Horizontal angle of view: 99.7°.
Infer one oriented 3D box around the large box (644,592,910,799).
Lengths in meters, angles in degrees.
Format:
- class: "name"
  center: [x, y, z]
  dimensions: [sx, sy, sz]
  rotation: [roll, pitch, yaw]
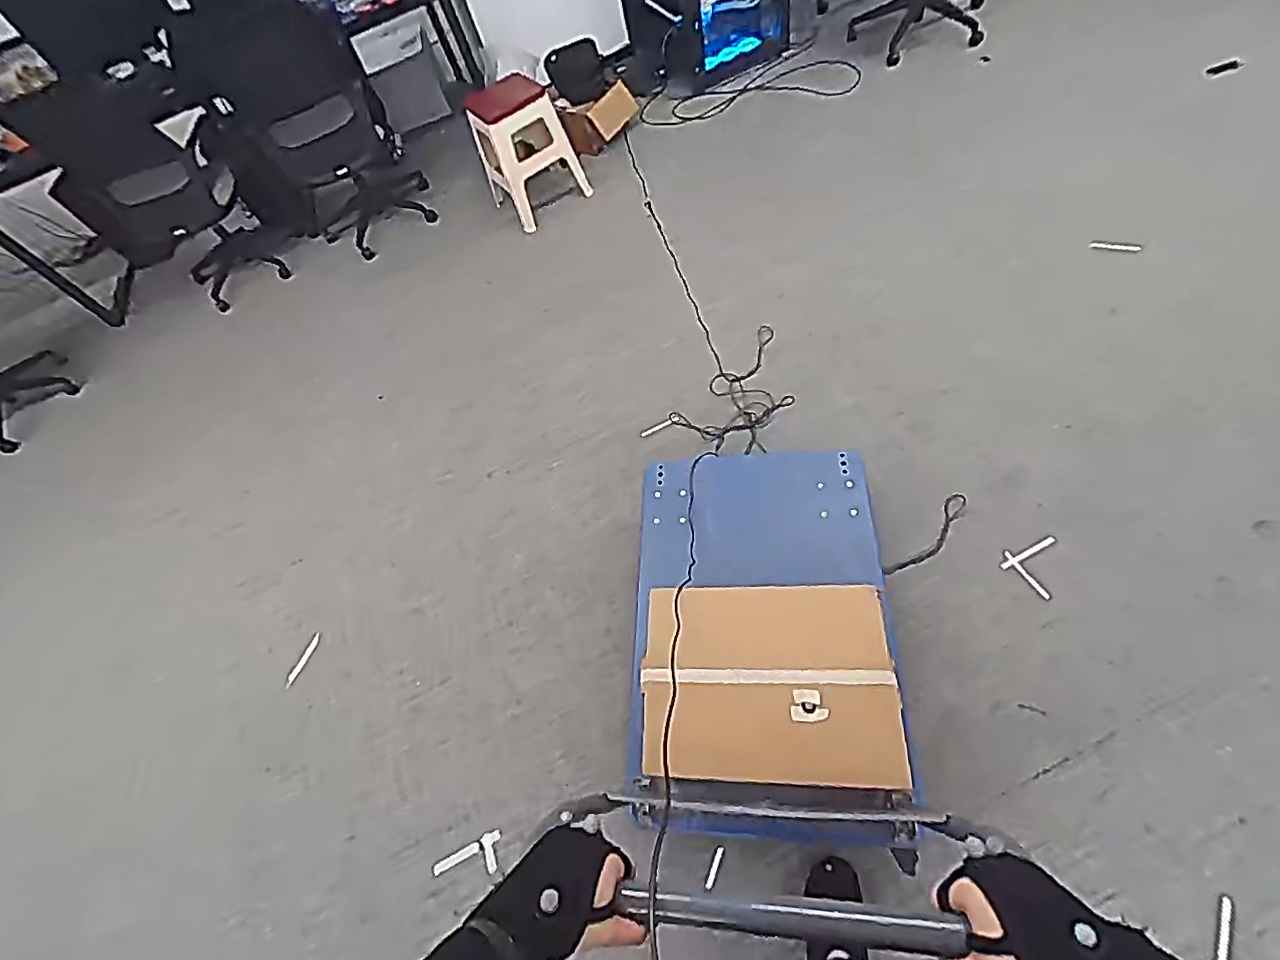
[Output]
- class: "large box"
  center: [0.232, 0.413, 1.018]
  dimensions: [0.408, 0.320, 0.320]
  rotation: [-3, 60, 11]
